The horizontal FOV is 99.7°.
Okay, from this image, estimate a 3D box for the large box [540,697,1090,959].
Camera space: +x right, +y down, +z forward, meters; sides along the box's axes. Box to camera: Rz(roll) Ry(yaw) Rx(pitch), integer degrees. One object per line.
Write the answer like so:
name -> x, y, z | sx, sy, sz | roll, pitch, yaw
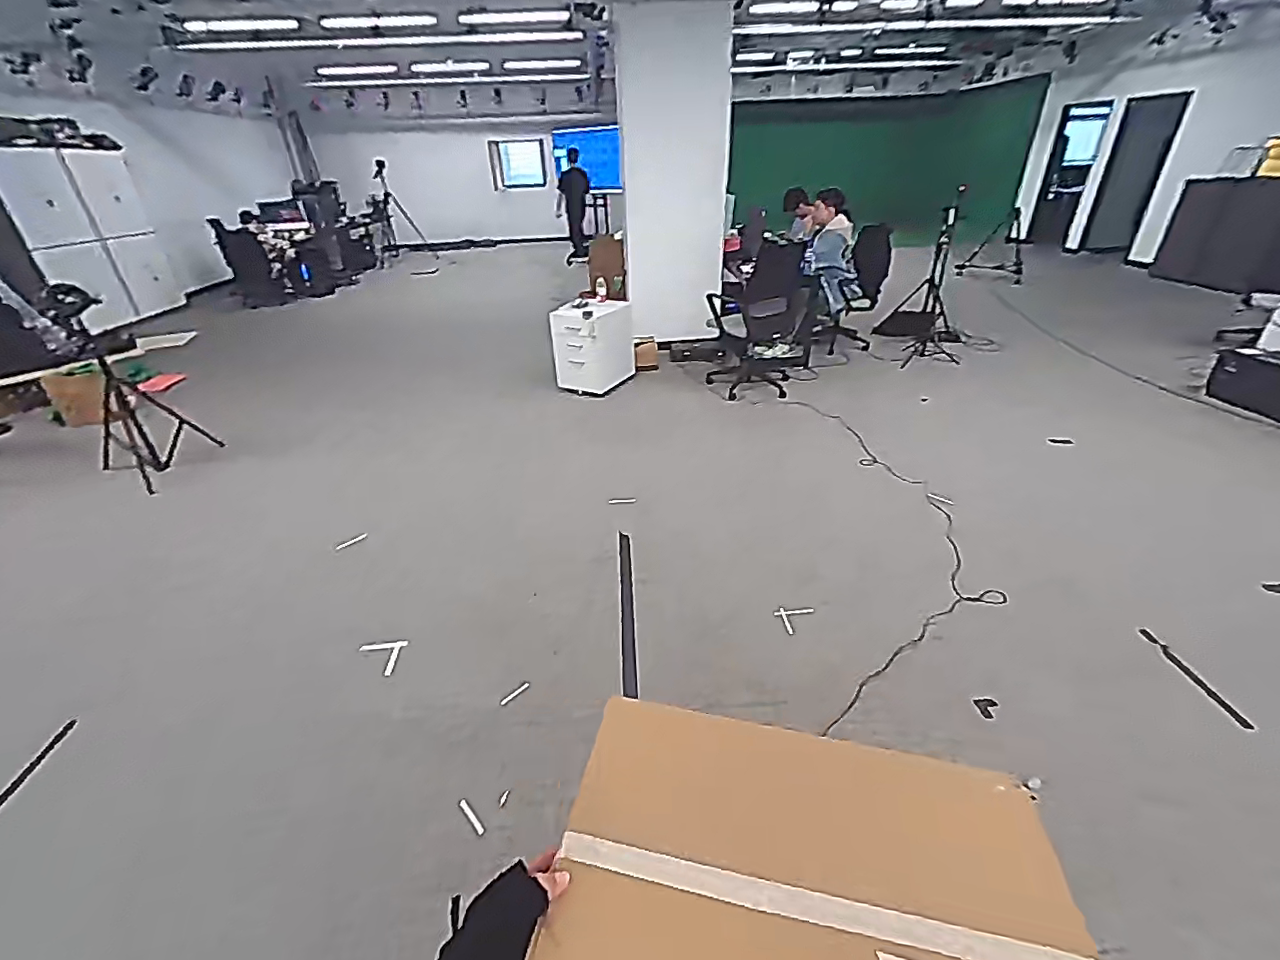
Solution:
large box -> 0.133, 0.462, 0.502 | 0.408, 0.320, 0.320 | 8, 30, 11
